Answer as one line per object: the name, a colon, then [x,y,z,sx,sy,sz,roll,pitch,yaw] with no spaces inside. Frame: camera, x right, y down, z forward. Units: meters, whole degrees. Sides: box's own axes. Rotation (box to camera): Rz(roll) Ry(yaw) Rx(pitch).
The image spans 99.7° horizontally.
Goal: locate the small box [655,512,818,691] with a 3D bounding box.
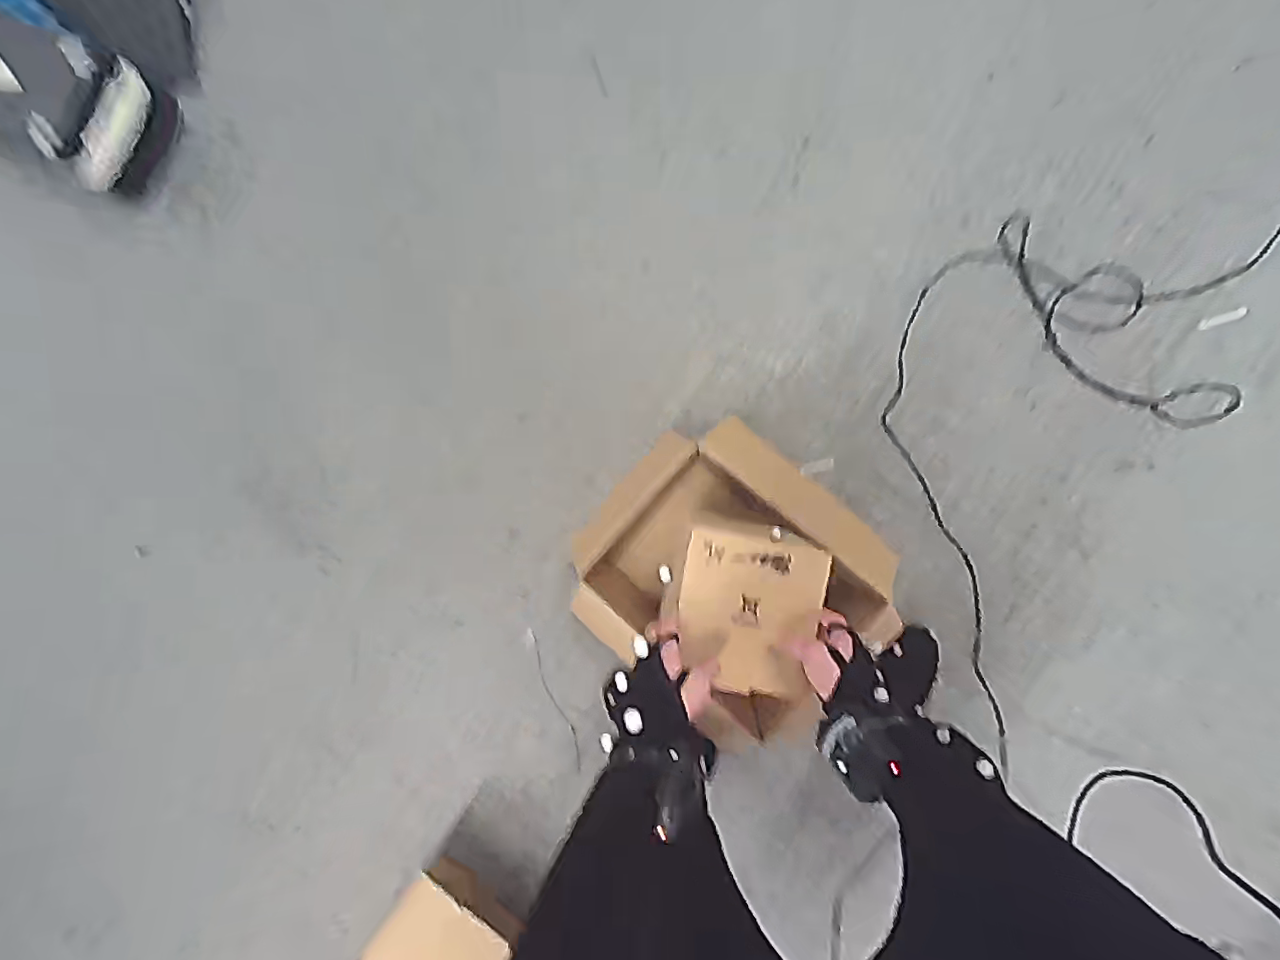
small box: [0.118,0.147,0.713,0.168,0.176,0.179,10,92,3]
